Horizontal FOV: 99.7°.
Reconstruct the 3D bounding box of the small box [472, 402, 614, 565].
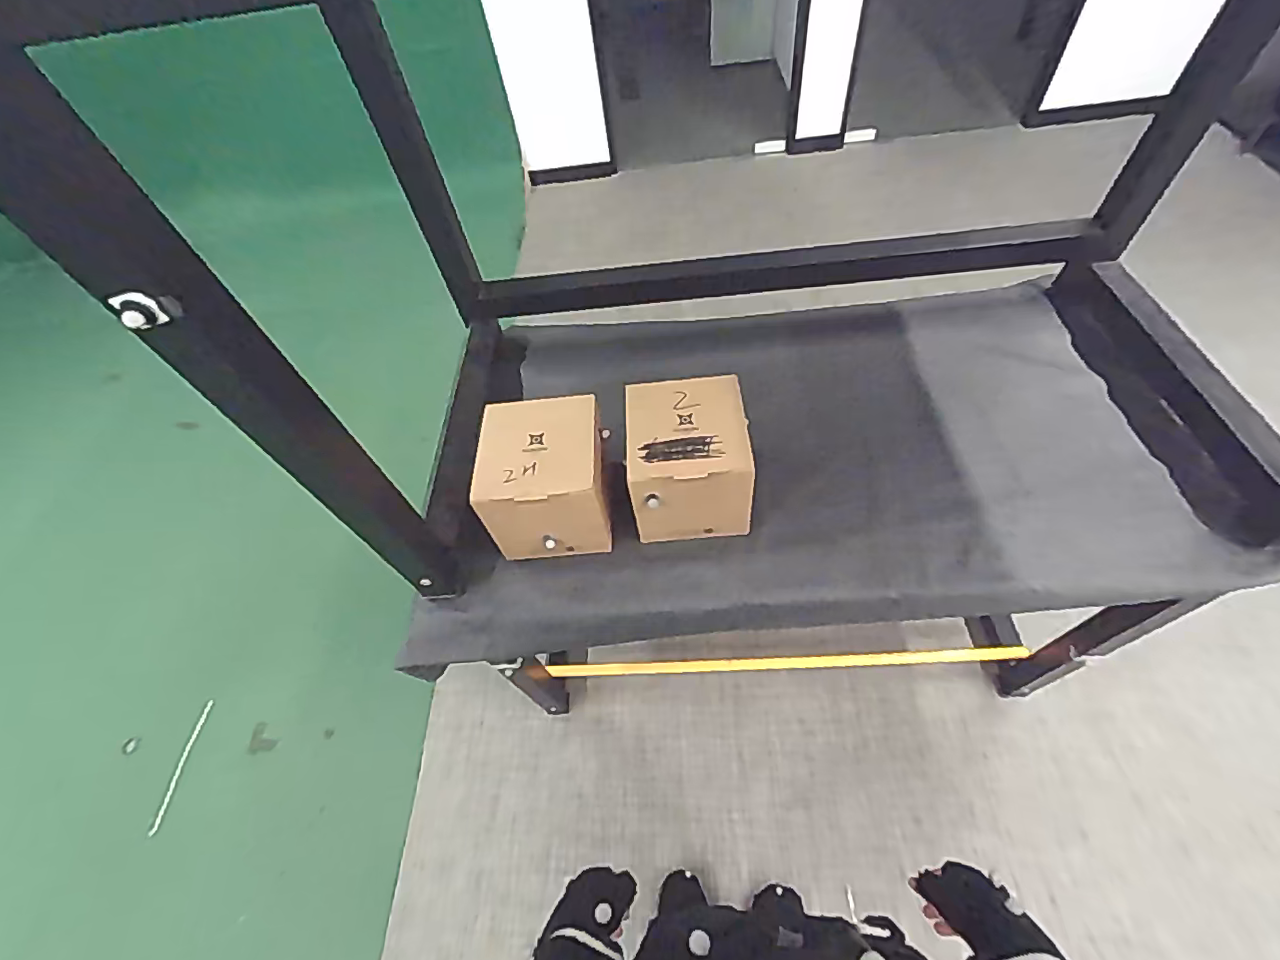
[{"bbox_3d":[-0.133,0.008,0.811,0.168,0.176,0.179,-5,54,4],"label":"small box"}]
